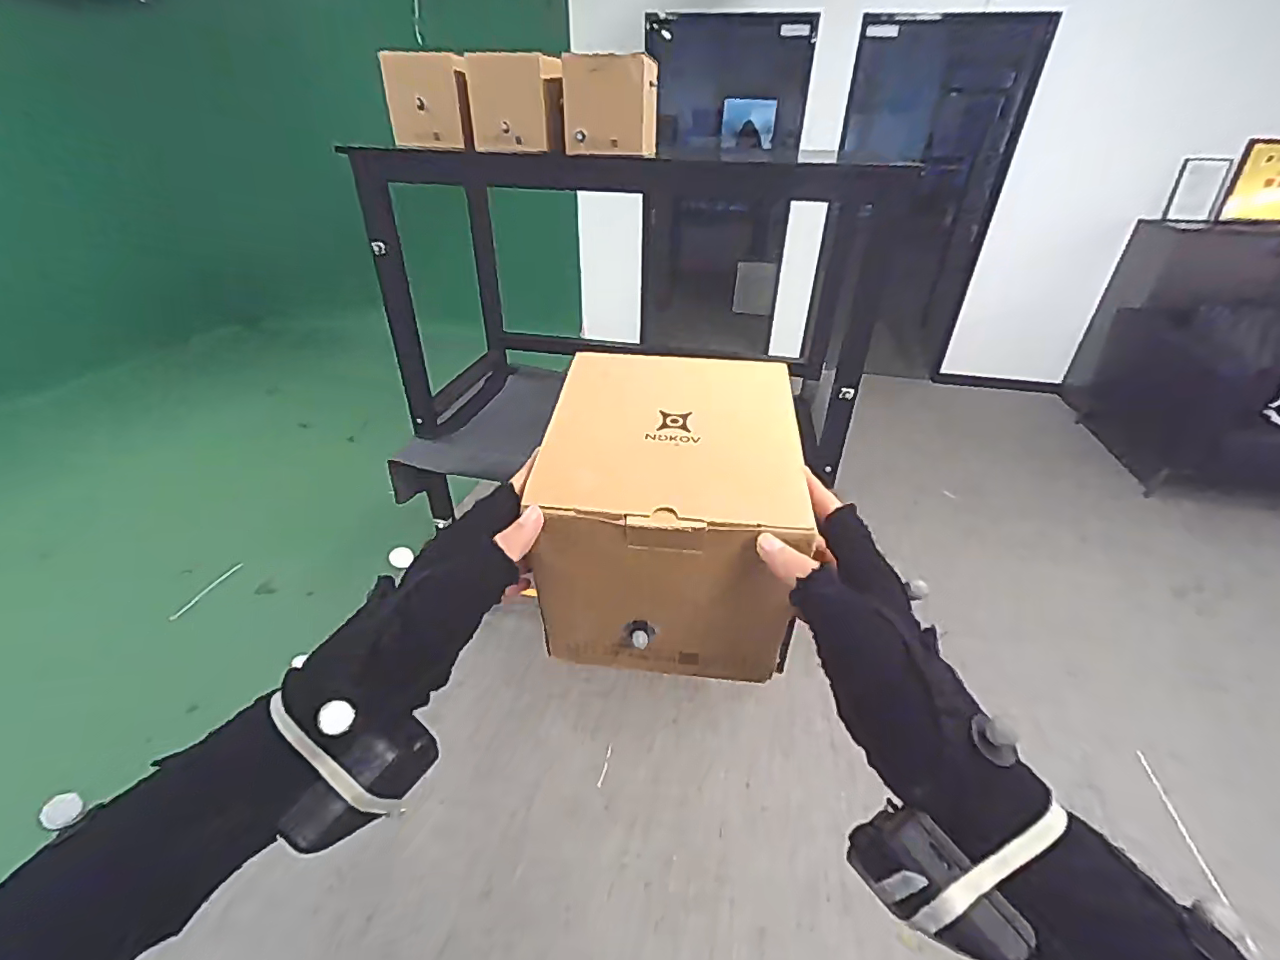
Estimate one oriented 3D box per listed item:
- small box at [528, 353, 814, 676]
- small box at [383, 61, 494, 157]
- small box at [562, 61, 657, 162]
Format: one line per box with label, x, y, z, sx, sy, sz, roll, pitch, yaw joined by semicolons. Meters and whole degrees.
small box;0.023;0.023;0.417;0.168;0.176;0.179;4;42;4
small box;-0.444;-0.835;1.226;0.168;0.176;0.179;8;34;8
small box;-0.058;-0.774;1.146;0.168;0.176;0.179;6;33;7
